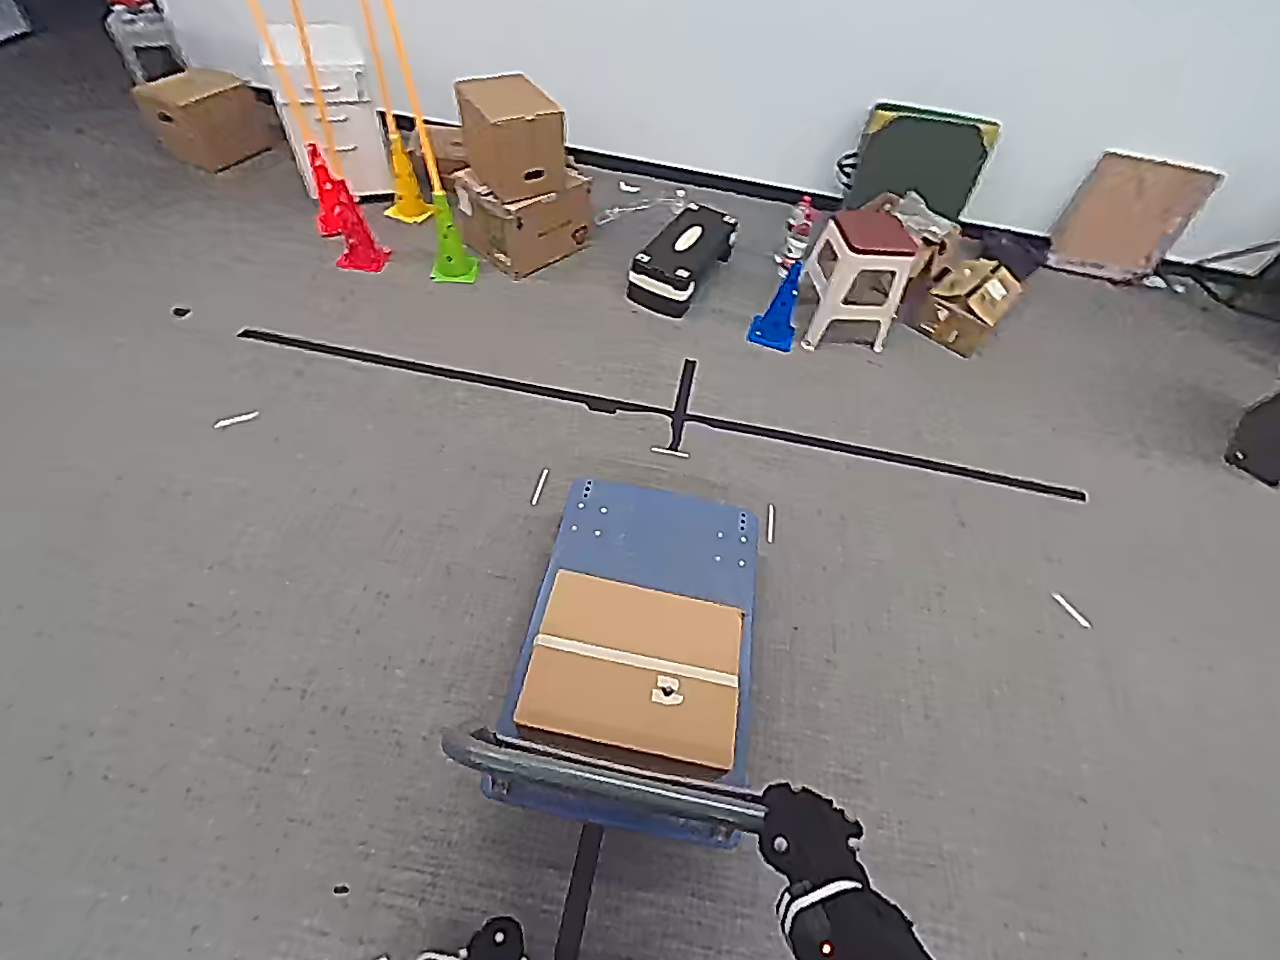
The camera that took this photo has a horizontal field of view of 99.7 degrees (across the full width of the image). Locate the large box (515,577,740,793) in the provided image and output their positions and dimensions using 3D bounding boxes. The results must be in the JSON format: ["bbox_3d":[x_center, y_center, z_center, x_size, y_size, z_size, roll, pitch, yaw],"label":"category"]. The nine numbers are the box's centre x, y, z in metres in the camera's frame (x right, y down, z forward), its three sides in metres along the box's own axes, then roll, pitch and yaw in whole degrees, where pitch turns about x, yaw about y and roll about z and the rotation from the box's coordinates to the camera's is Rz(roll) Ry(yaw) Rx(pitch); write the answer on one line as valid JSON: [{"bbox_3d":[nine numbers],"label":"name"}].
[{"bbox_3d":[-0.027,0.449,1.167,0.408,0.320,0.320,13,54,0],"label":"large box"}]
